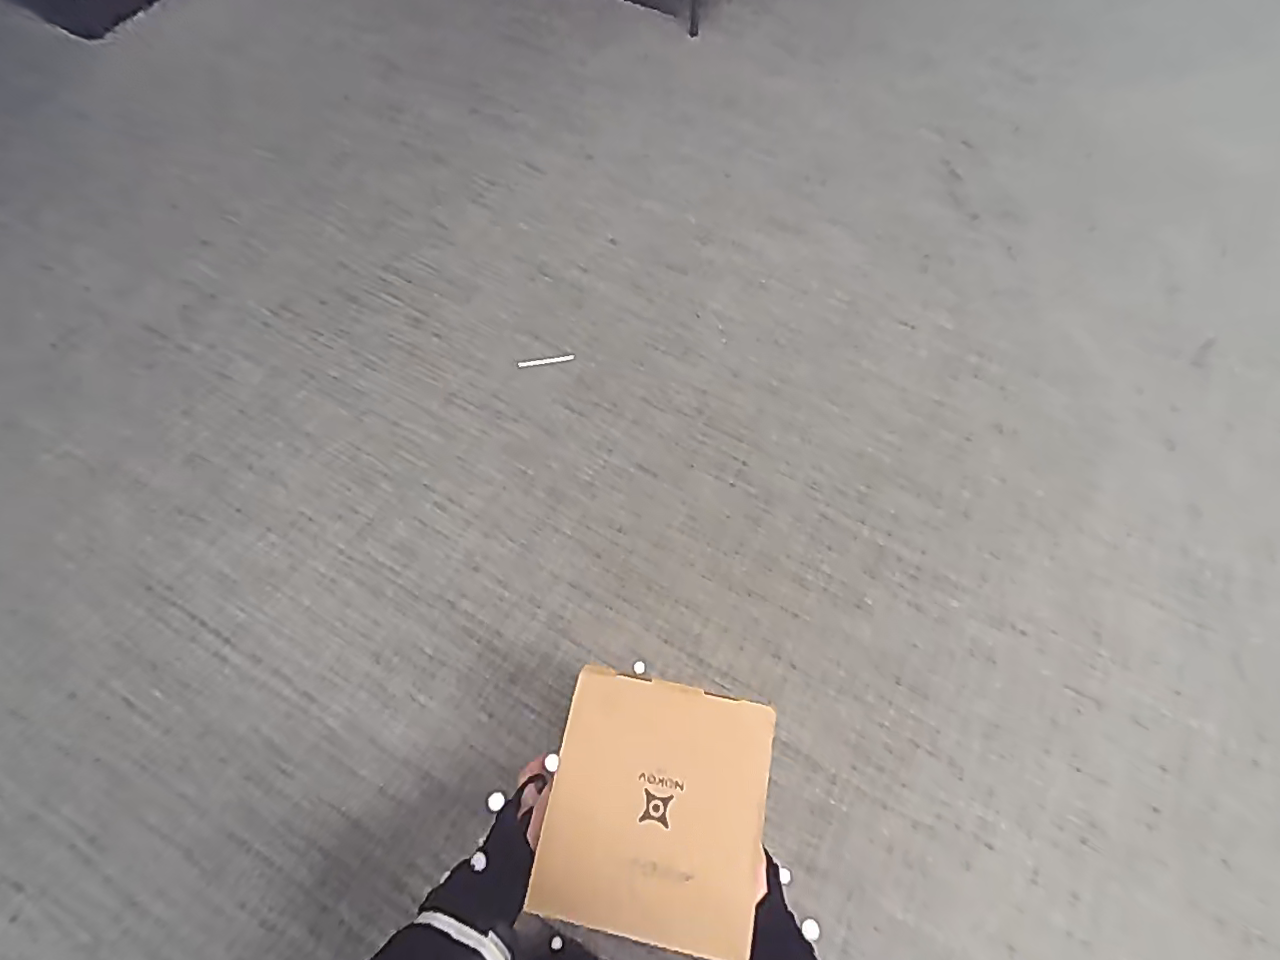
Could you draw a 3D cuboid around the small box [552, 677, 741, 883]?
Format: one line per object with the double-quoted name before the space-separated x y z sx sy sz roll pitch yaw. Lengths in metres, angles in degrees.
"small box" 0.011 0.342 0.643 0.179 0.176 0.168 10 68 4
